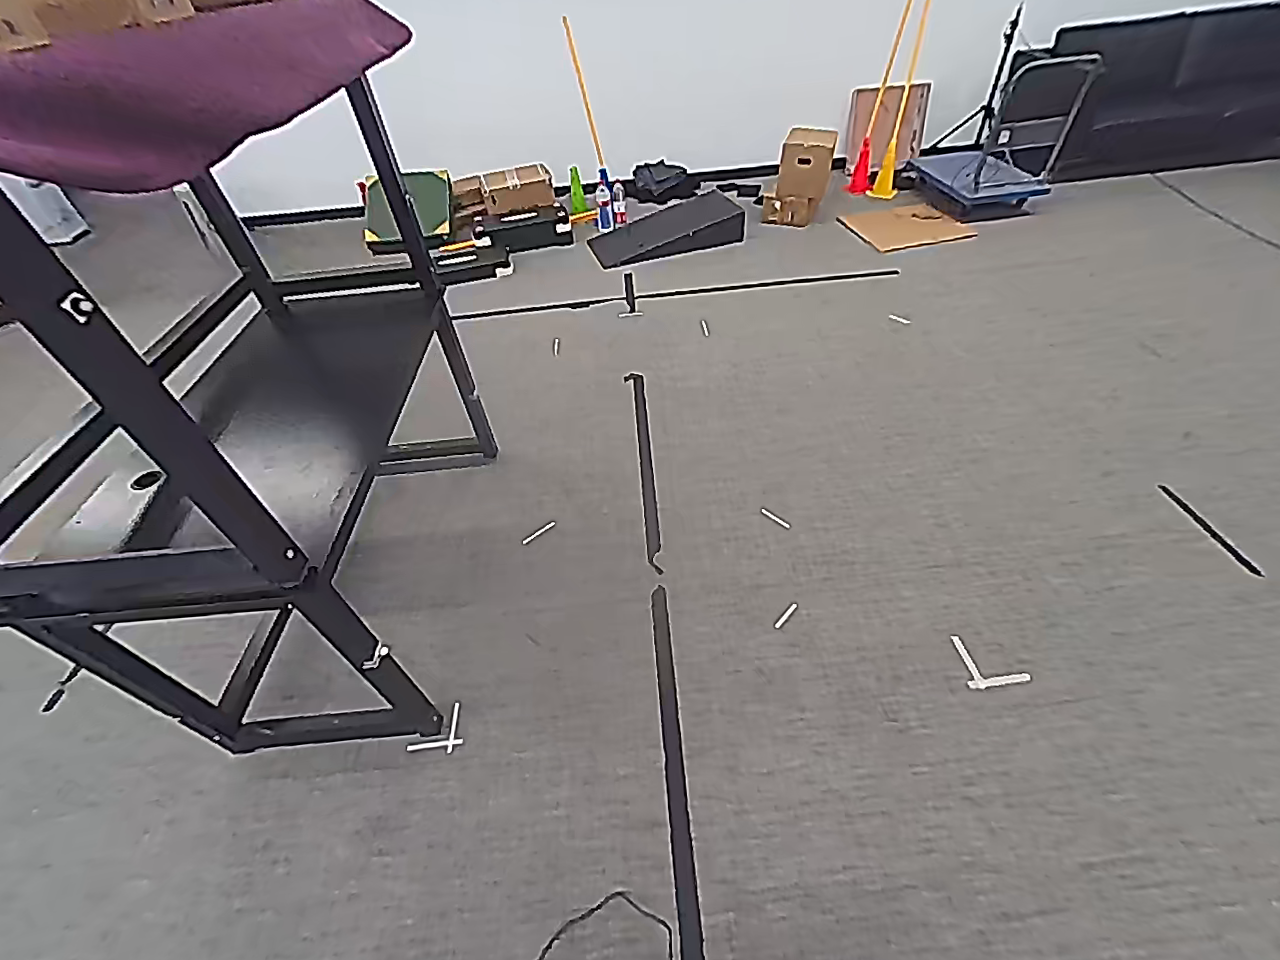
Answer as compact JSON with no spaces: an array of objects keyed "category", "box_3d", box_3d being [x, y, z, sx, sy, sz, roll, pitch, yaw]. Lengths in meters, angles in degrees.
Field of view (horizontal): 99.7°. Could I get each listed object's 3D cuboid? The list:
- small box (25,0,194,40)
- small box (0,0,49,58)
[{"category":"small box","box_3d":[-0.827,-0.769,0.794,0.179,0.176,0.168,-8,46,-2]},{"category":"small box","box_3d":[-0.798,-0.525,0.548,0.179,0.176,0.168,-12,46,-5]}]
